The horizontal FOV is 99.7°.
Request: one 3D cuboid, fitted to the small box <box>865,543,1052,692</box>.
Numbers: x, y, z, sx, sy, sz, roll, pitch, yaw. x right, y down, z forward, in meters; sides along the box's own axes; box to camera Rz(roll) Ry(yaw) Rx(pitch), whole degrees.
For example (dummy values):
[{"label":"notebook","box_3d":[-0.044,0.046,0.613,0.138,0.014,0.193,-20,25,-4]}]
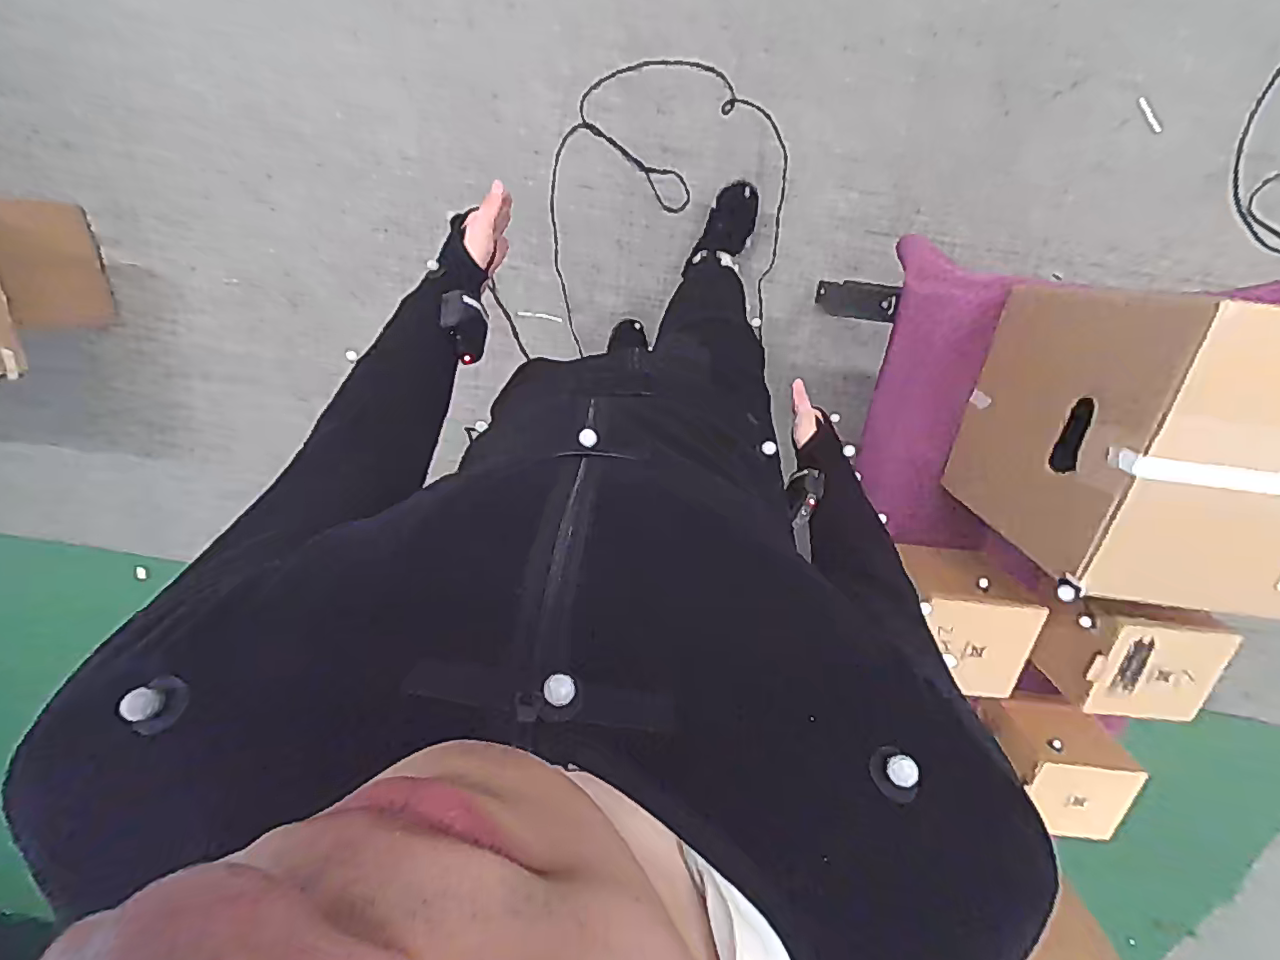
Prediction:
[{"label":"small box","box_3d":[0.496,0.214,0.872,0.179,0.176,0.168,6,111,-2]}]
